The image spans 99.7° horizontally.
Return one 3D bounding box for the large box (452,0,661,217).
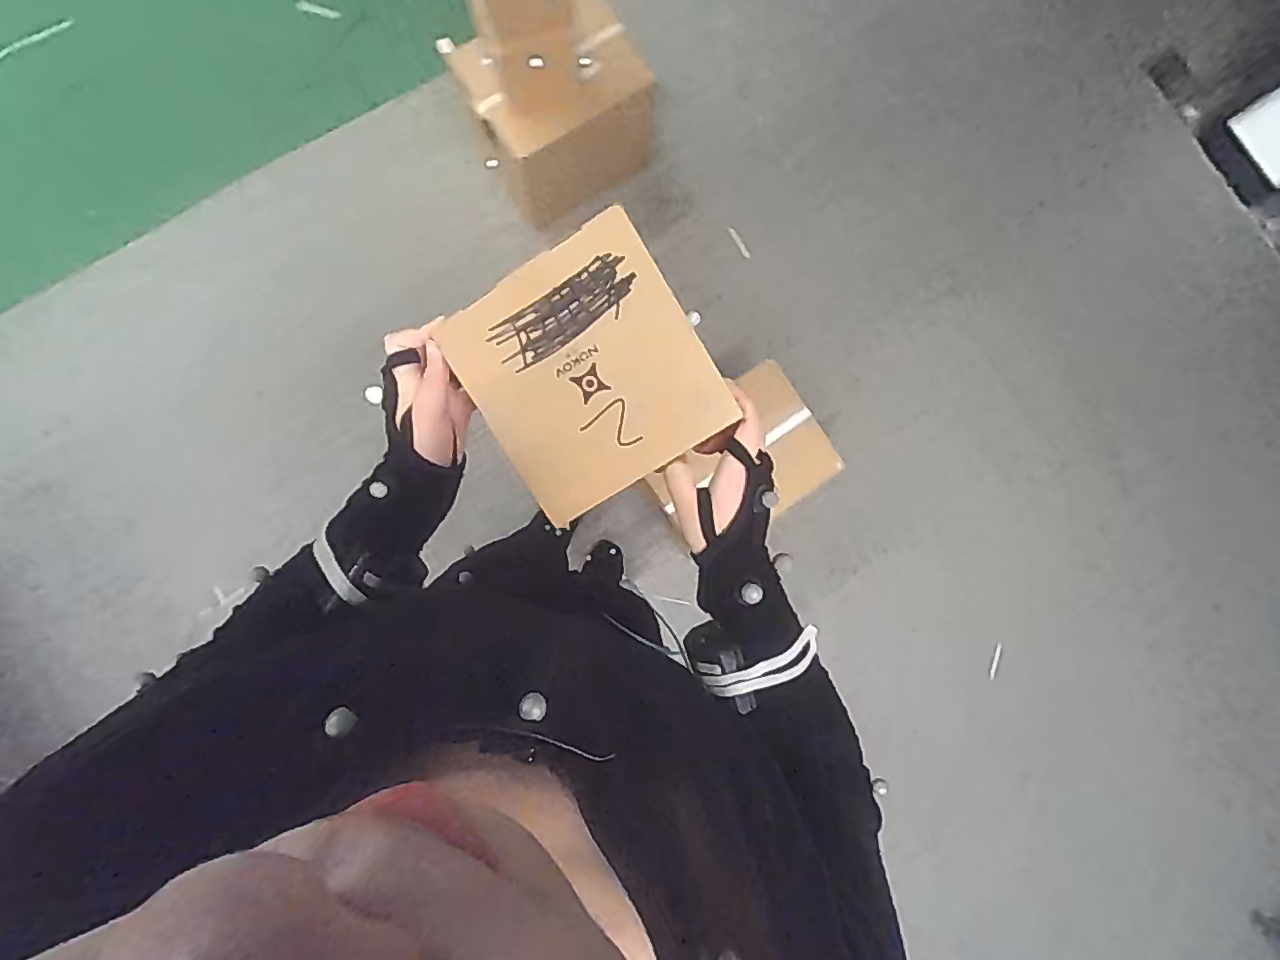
[{"bbox_3d":[-0.203,-0.989,1.417,0.408,0.320,0.320,-33,89,-6],"label":"large box"}]
